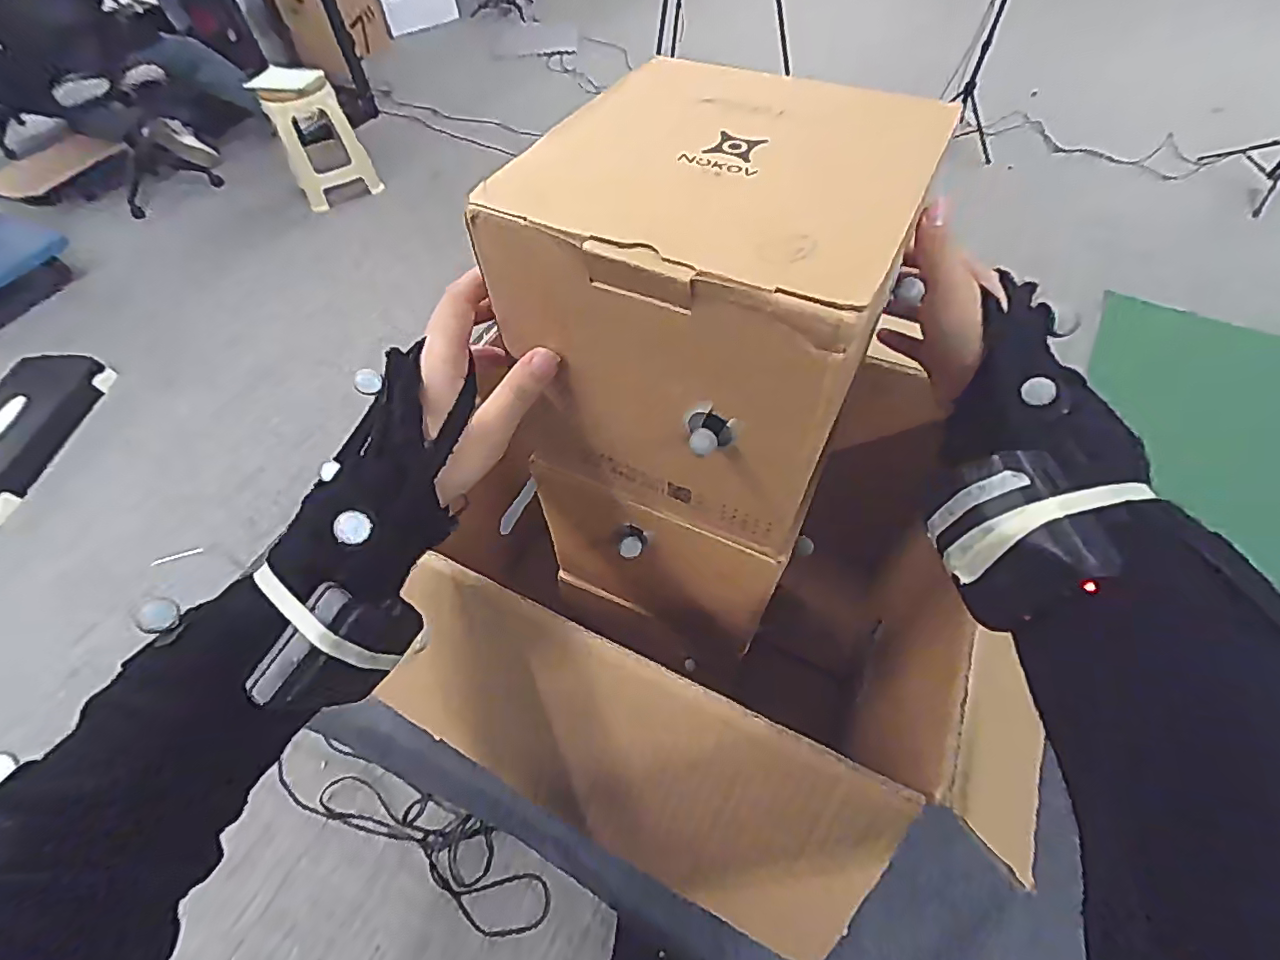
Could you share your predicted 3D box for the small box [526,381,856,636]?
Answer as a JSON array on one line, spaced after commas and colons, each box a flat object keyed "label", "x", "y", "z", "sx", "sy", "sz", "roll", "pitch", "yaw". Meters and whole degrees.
[{"label": "small box", "x": 0.041, "y": 0.002, "z": 0.430, "sx": 0.179, "sy": 0.176, "sz": 0.168, "roll": 22, "pitch": 59, "yaw": 17}]

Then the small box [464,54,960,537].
[{"label": "small box", "x": 0.041, "y": -0.097, "z": 0.301, "sx": 0.168, "sy": 0.176, "sz": 0.179, "roll": 23, "pitch": 58, "yaw": 16}]
